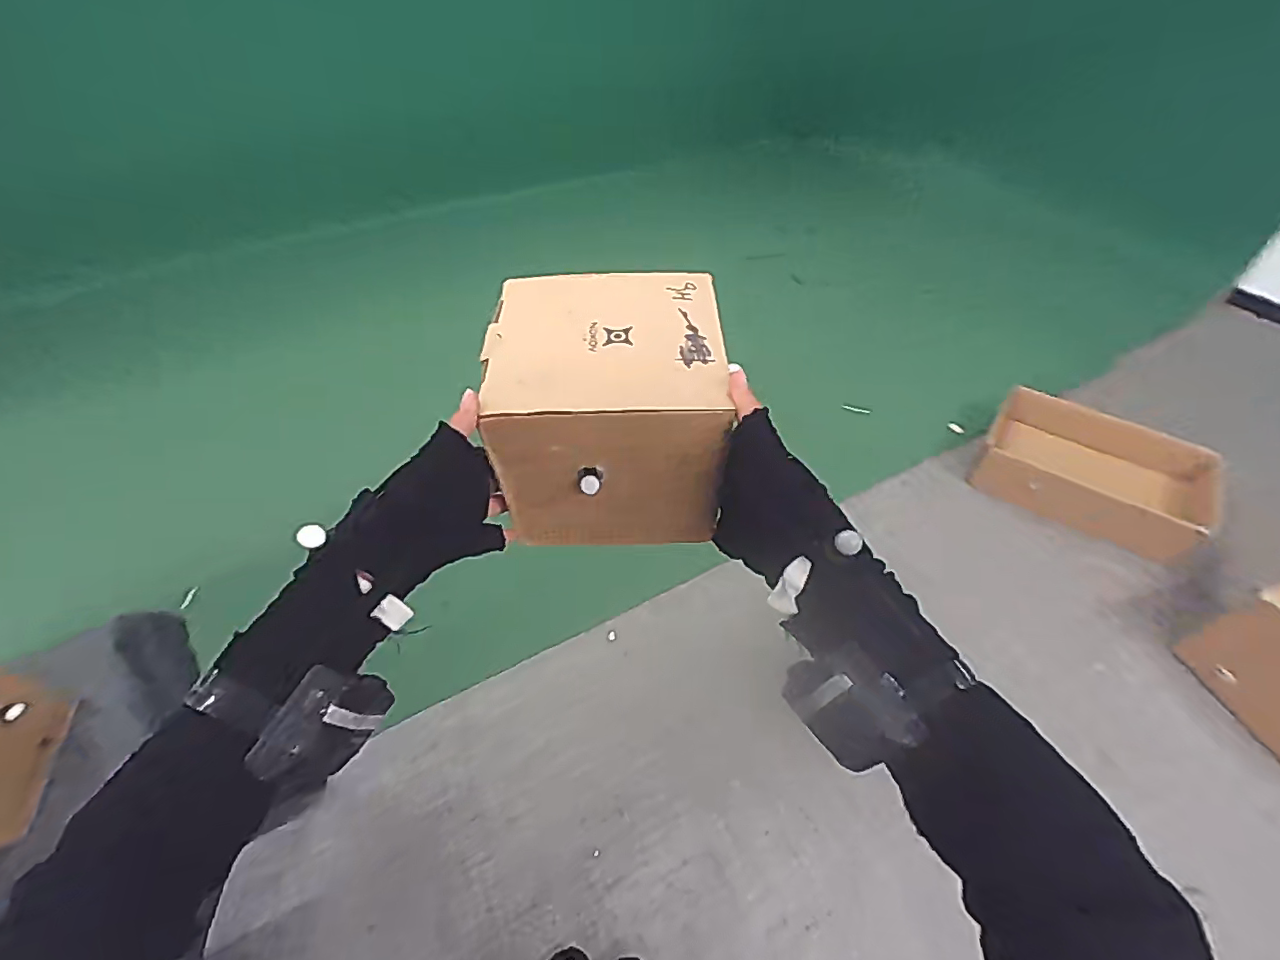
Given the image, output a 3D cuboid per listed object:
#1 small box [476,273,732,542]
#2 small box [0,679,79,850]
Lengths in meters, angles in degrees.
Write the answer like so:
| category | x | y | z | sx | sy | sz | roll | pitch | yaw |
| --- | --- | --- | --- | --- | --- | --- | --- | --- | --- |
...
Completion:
| category | x | y | z | sx | sy | sz | roll | pitch | yaw |
| --- | --- | --- | --- | --- | --- | --- | --- | --- | --- |
| small box | -0.021 | -0.057 | 0.470 | 0.179 | 0.176 | 0.168 | -2 | 53 | 1 |
| small box | -0.814 | 0.332 | 0.610 | 0.179 | 0.176 | 0.168 | -14 | 49 | -8 |
